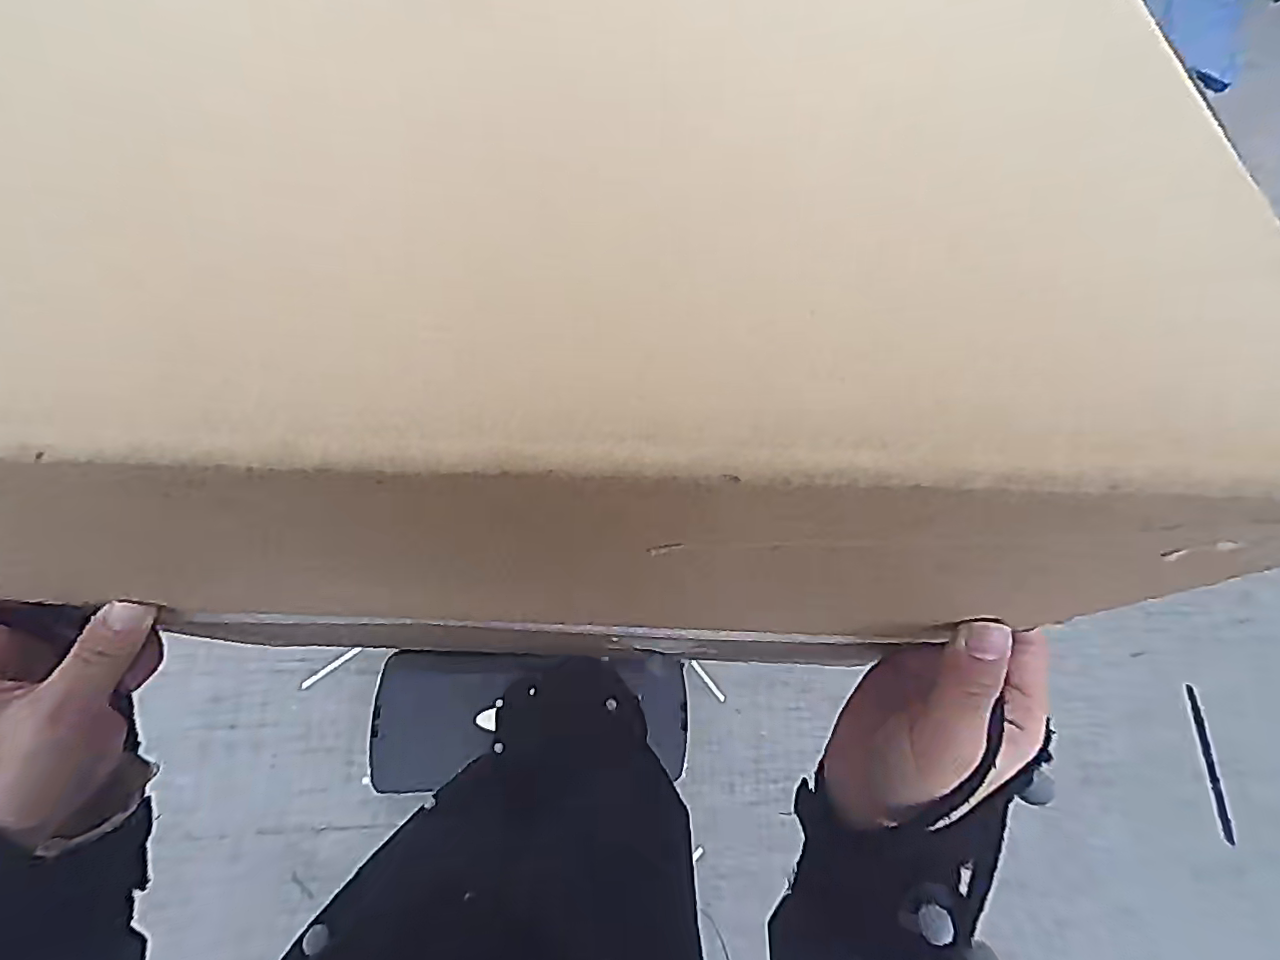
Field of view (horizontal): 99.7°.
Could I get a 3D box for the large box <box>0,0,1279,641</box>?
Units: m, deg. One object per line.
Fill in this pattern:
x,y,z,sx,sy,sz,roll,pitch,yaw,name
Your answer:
-0.067,-0.089,0.294,0.408,0.320,0.320,0,68,1,large box
